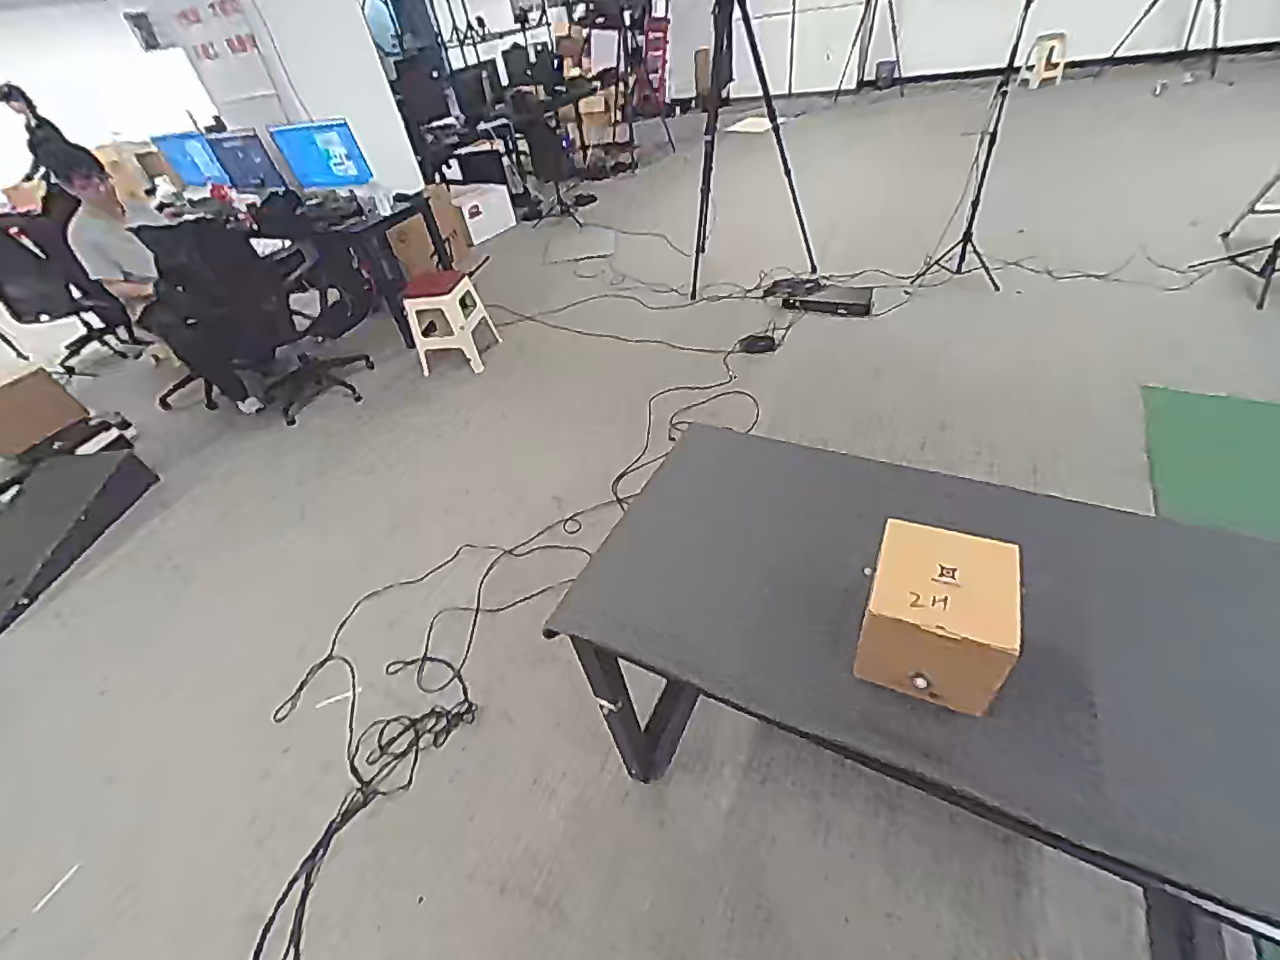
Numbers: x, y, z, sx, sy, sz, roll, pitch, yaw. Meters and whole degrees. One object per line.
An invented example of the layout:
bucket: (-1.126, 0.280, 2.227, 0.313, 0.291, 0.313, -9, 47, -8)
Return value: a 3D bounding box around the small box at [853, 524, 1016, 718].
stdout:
small box: (0.408, 0.195, 0.763, 0.168, 0.176, 0.179, 13, 46, 24)
